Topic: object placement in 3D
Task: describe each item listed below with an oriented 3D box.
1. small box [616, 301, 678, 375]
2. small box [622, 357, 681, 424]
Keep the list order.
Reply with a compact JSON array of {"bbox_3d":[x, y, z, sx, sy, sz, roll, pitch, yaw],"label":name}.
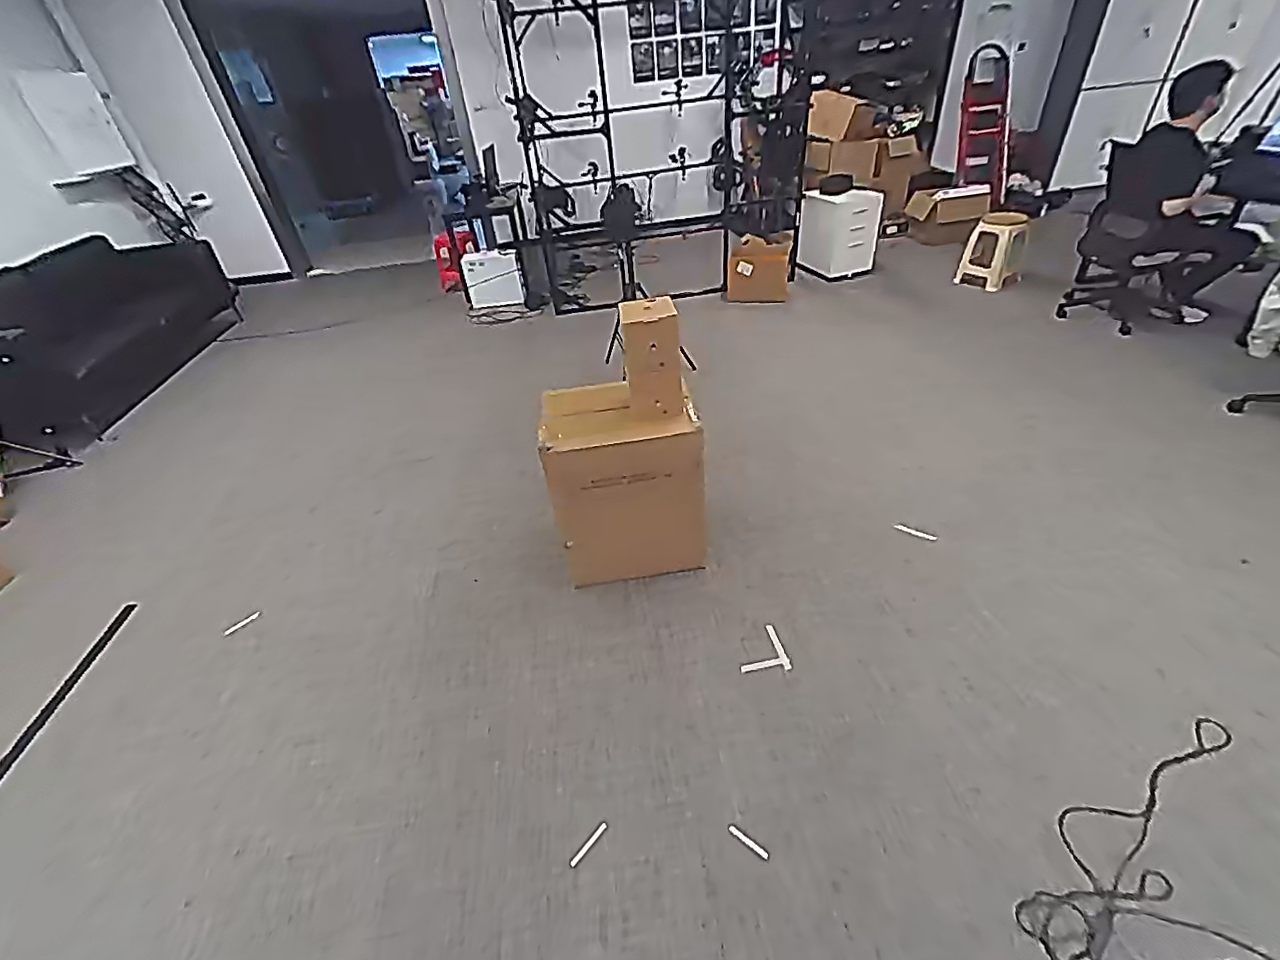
[{"bbox_3d":[0.023,-0.438,1.688,0.168,0.176,0.179,-9,38,-1],"label":"small box"},{"bbox_3d":[0.037,-0.305,1.784,0.168,0.176,0.179,-10,38,-2],"label":"small box"}]
